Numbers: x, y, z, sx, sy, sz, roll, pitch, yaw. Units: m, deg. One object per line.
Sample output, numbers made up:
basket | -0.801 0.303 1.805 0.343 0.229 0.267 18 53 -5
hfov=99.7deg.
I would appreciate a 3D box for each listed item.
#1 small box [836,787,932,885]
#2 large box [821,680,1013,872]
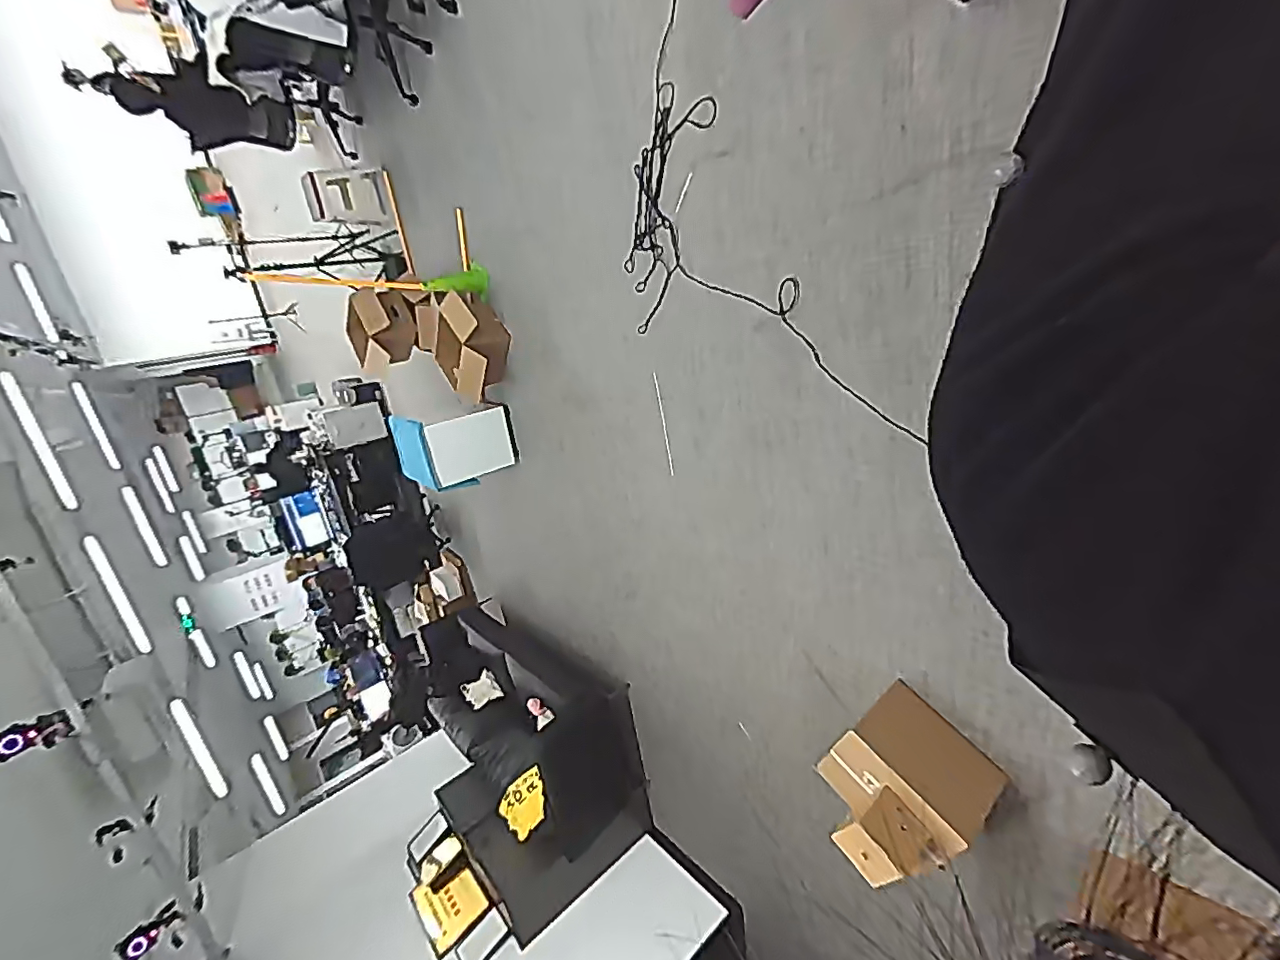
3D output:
small box | 0.734 1.066 1.624 0.168 0.176 0.179 46 141 28
large box | 0.894 0.958 1.778 0.408 0.320 0.320 44 139 32
